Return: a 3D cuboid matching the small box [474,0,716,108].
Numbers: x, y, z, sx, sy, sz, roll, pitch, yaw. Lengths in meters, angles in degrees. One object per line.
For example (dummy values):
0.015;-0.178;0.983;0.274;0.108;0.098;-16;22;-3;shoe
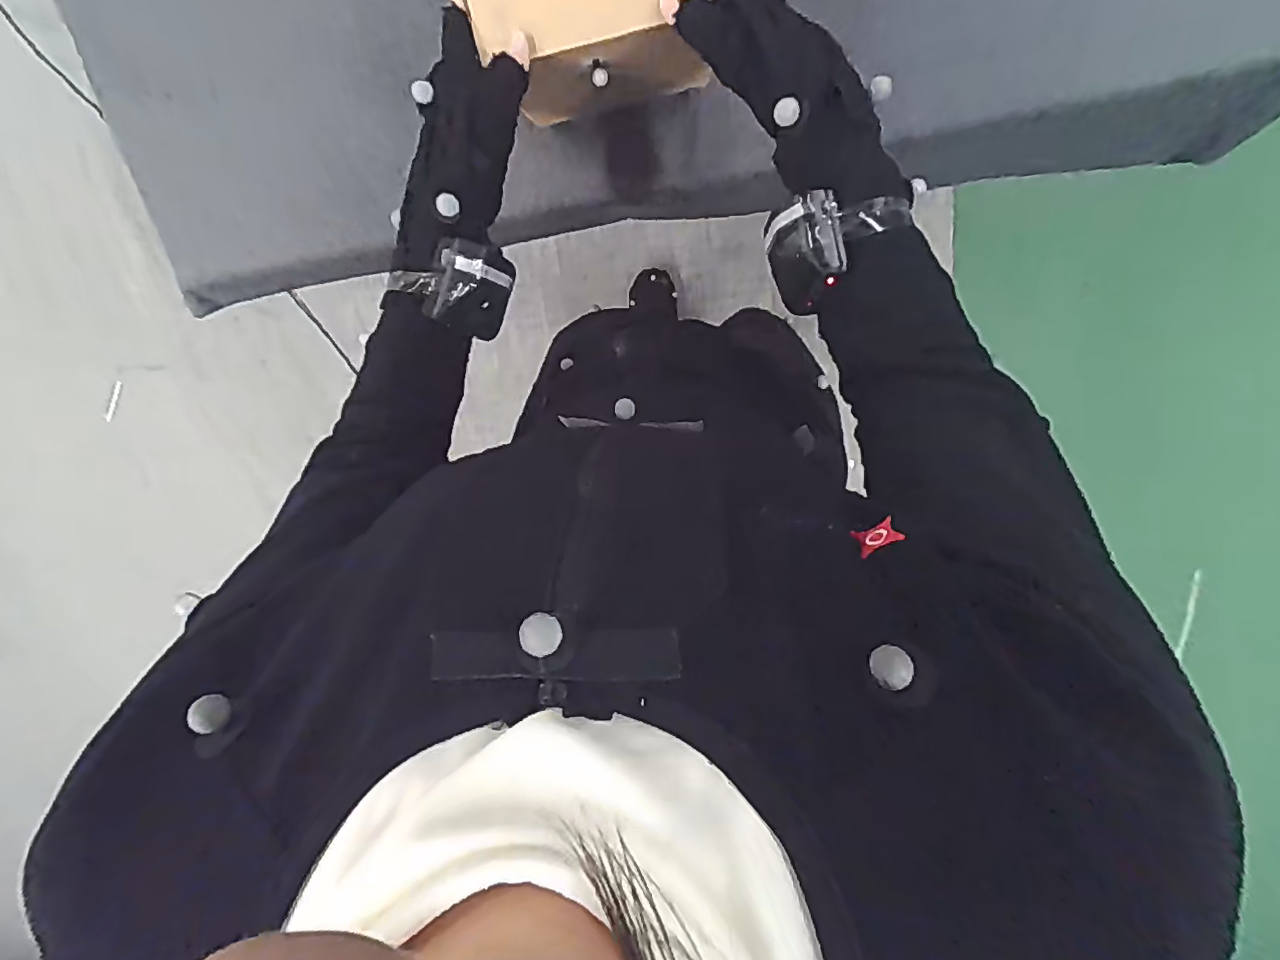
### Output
-0.035;-0.423;0.426;0.179;0.176;0.168;-9;112;8;small box
